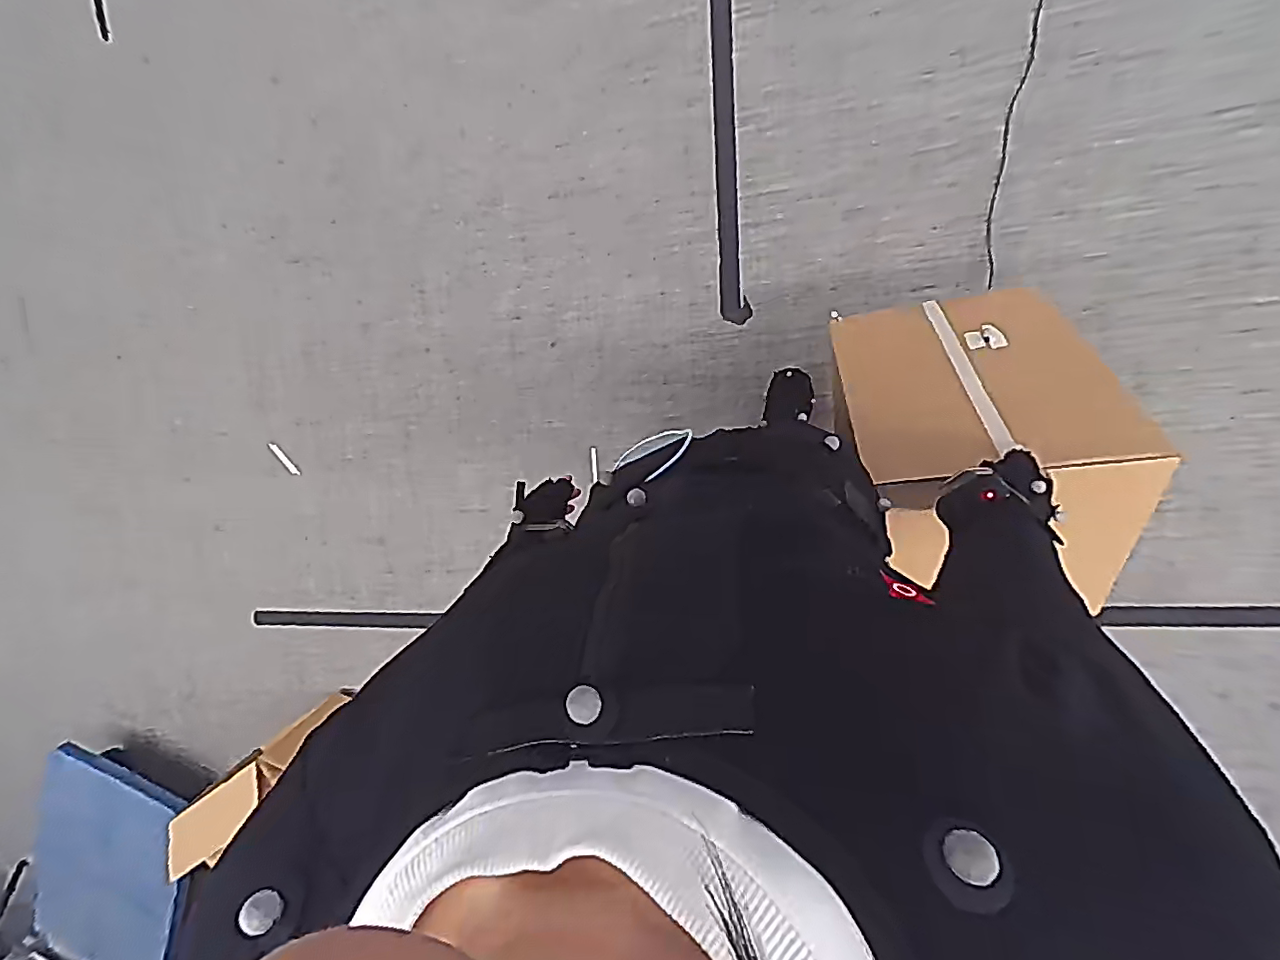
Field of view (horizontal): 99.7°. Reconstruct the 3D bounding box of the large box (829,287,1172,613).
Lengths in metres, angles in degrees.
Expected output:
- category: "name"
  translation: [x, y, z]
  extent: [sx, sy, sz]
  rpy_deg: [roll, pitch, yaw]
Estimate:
- category: "large box"
  translation: [0.496, -0.047, 0.860]
  extent: [0.320, 0.408, 0.320]
  rpy_deg: [-6, 133, 15]
